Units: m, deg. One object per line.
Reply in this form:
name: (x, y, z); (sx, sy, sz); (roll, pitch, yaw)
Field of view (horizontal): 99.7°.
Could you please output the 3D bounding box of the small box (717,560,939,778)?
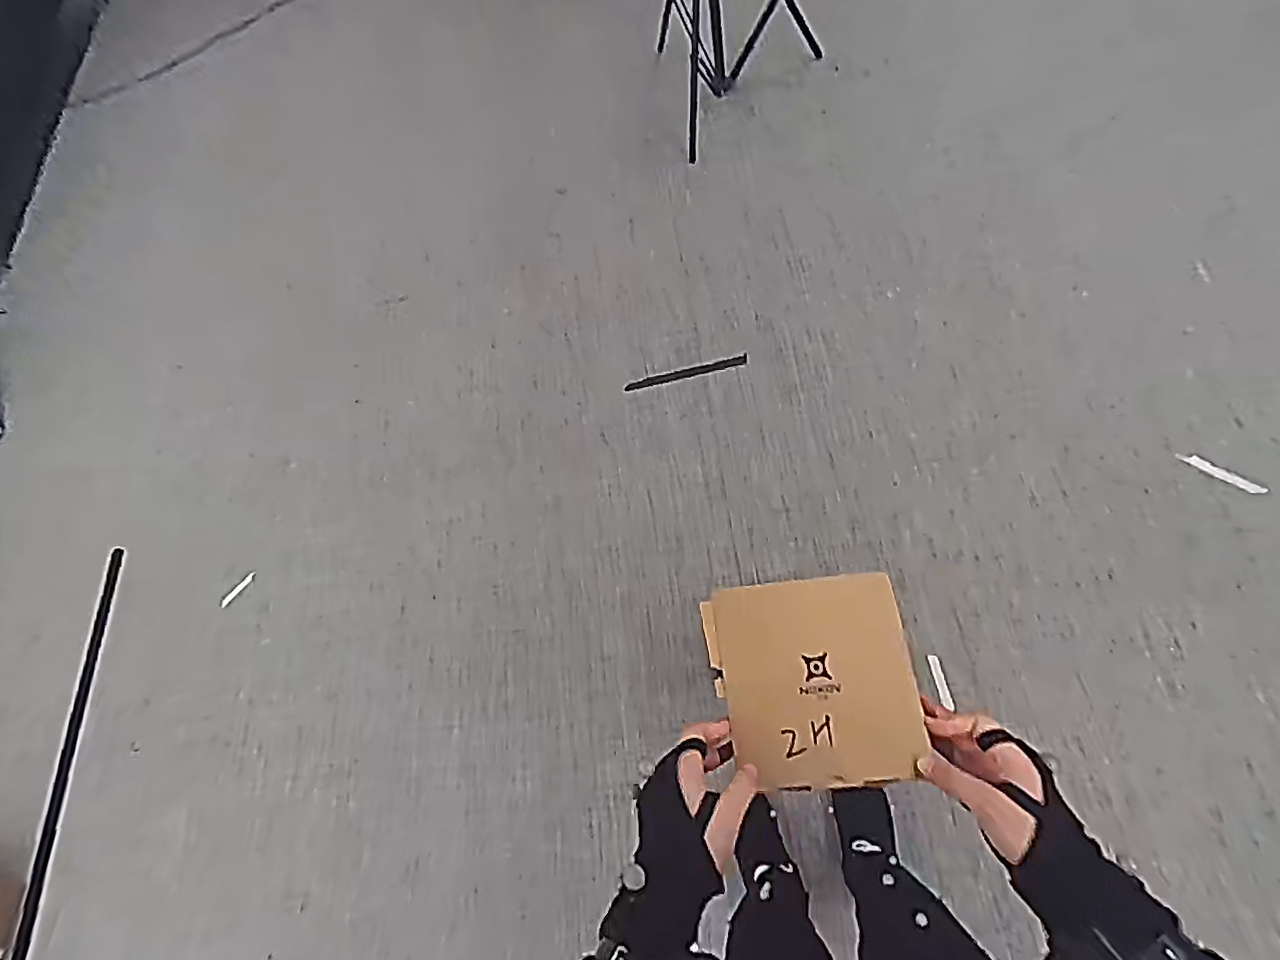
small box: (0.172, 0.191, 0.561); (0.168, 0.176, 0.179); (-8, 71, 5)
